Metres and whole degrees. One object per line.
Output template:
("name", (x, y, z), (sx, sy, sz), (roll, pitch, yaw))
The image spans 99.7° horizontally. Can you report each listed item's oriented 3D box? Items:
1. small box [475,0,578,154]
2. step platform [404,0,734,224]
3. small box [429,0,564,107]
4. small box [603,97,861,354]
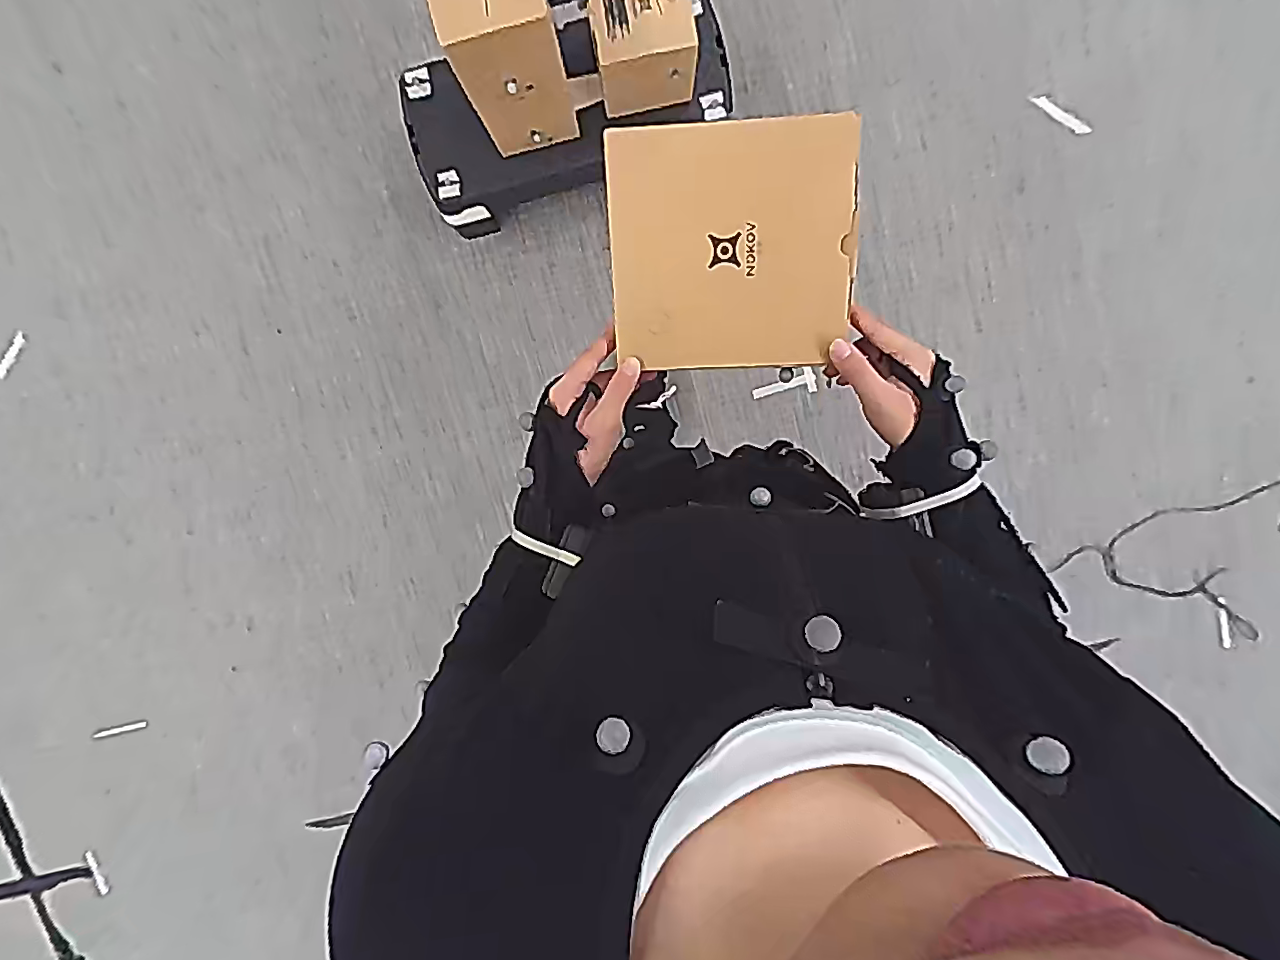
("small box", (-0.222, -0.752, 1.008), (0.168, 0.176, 0.179), (-13, 97, 3))
("step platform", (-0.143, -0.810, 1.175), (0.684, 0.204, 0.286), (-15, 96, 3))
("small box", (-0.226, -0.735, 0.844), (0.168, 0.176, 0.179), (-13, 97, 3))
("small box", (0.068, -0.194, 0.461), (0.179, 0.176, 0.168), (-2, 105, 3))
